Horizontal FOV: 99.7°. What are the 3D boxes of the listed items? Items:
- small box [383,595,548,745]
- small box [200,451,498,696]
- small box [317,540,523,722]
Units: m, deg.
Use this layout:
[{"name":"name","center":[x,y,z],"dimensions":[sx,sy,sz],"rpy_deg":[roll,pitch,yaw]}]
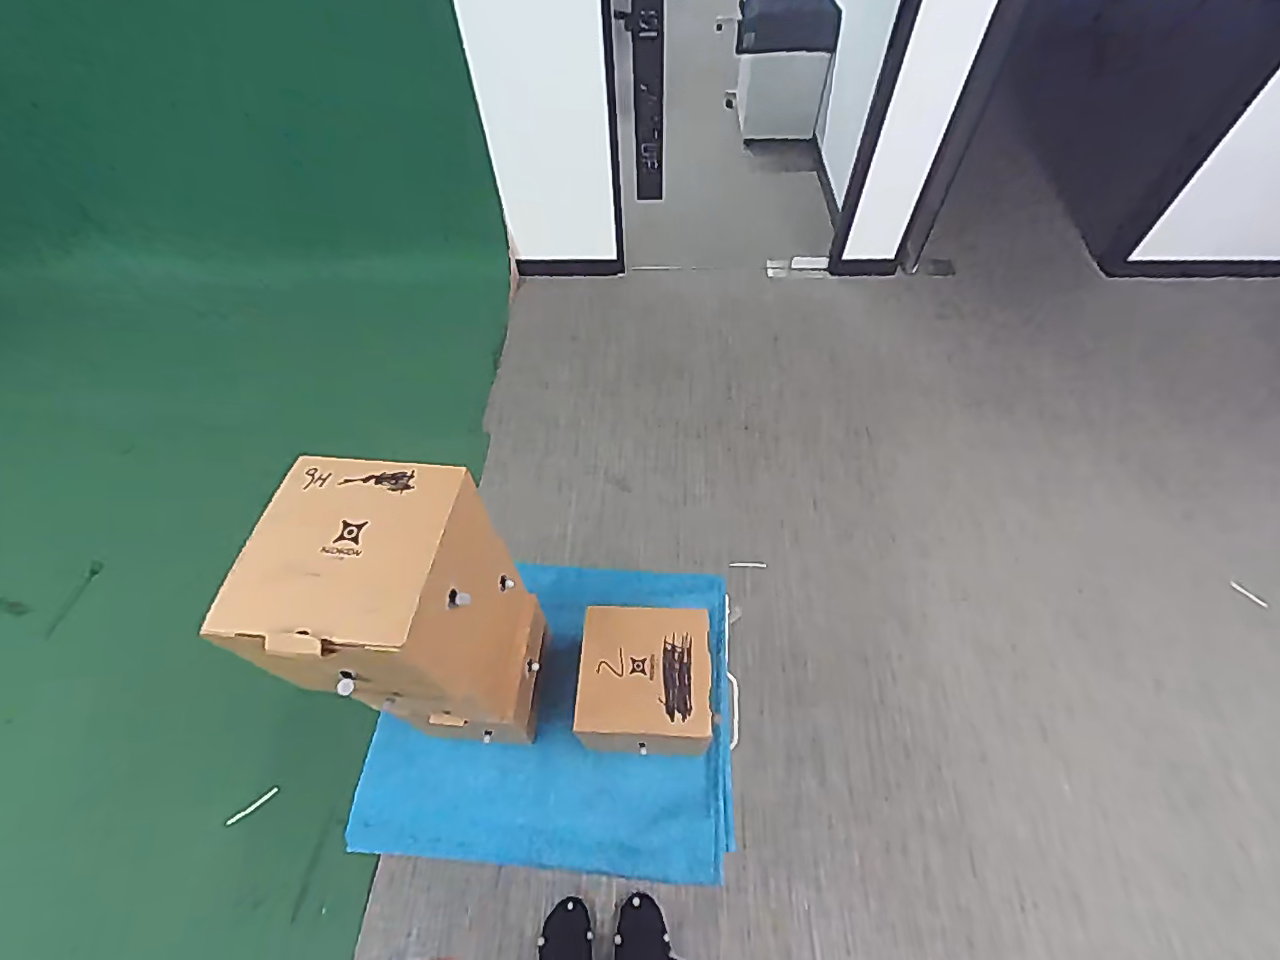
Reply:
[{"name":"small box","center":[-0.237,0.277,0.793],"dimensions":[0.168,0.176,0.179],"rpy_deg":[4,54,3]},{"name":"small box","center":[-0.249,0.096,0.522],"dimensions":[0.168,0.176,0.179],"rpy_deg":[5,54,4]},{"name":"small box","center":[-0.252,0.182,0.662],"dimensions":[0.168,0.176,0.179],"rpy_deg":[5,54,4]}]
